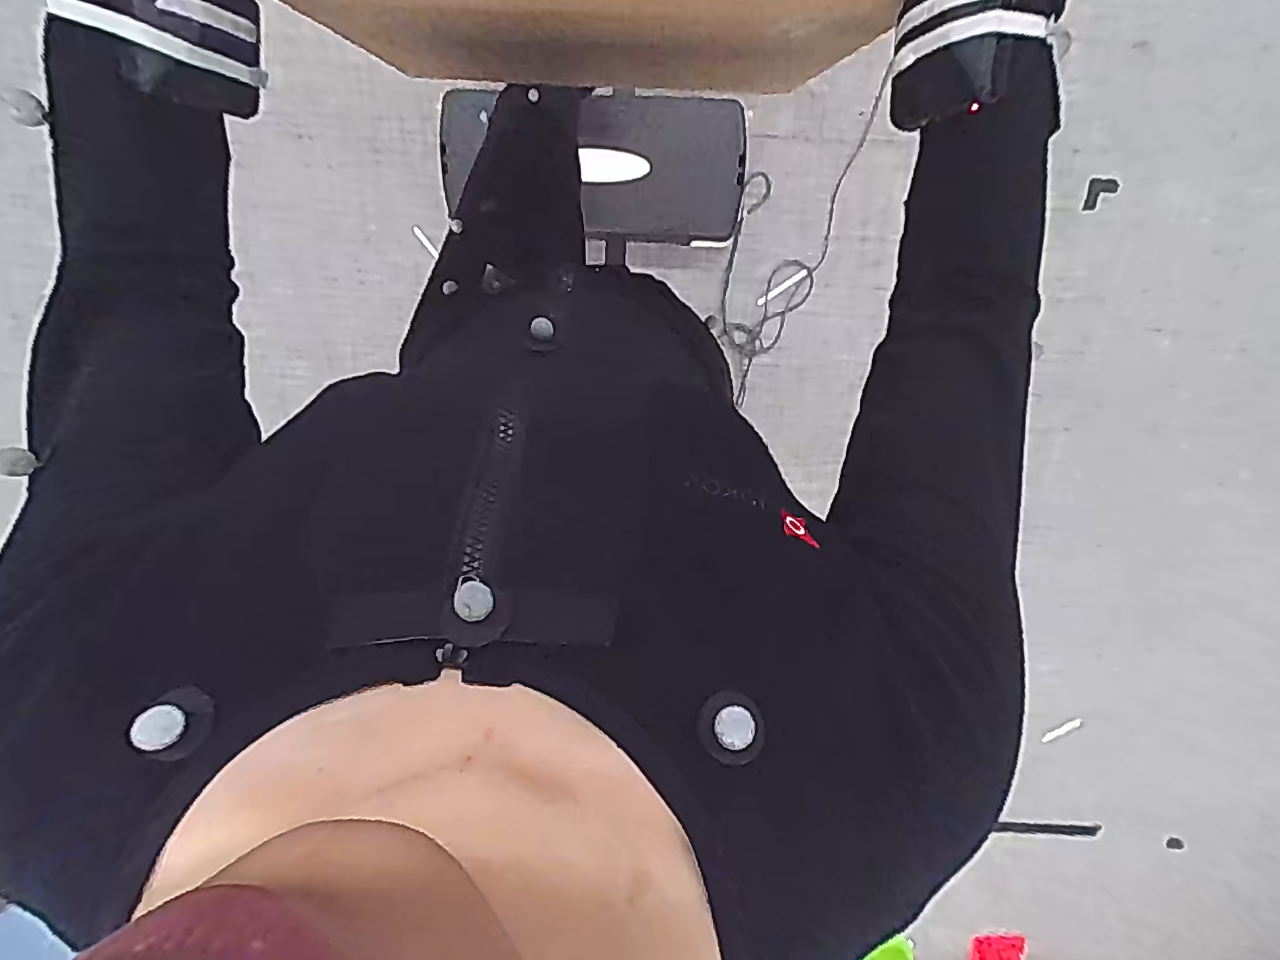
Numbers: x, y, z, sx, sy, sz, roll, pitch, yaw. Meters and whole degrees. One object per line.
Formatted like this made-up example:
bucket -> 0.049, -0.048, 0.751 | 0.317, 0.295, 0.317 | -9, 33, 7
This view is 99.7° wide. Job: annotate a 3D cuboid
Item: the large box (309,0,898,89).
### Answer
large box -> -0.029, -0.491, 0.376 | 0.408, 0.320, 0.320 | 0, 117, -3
